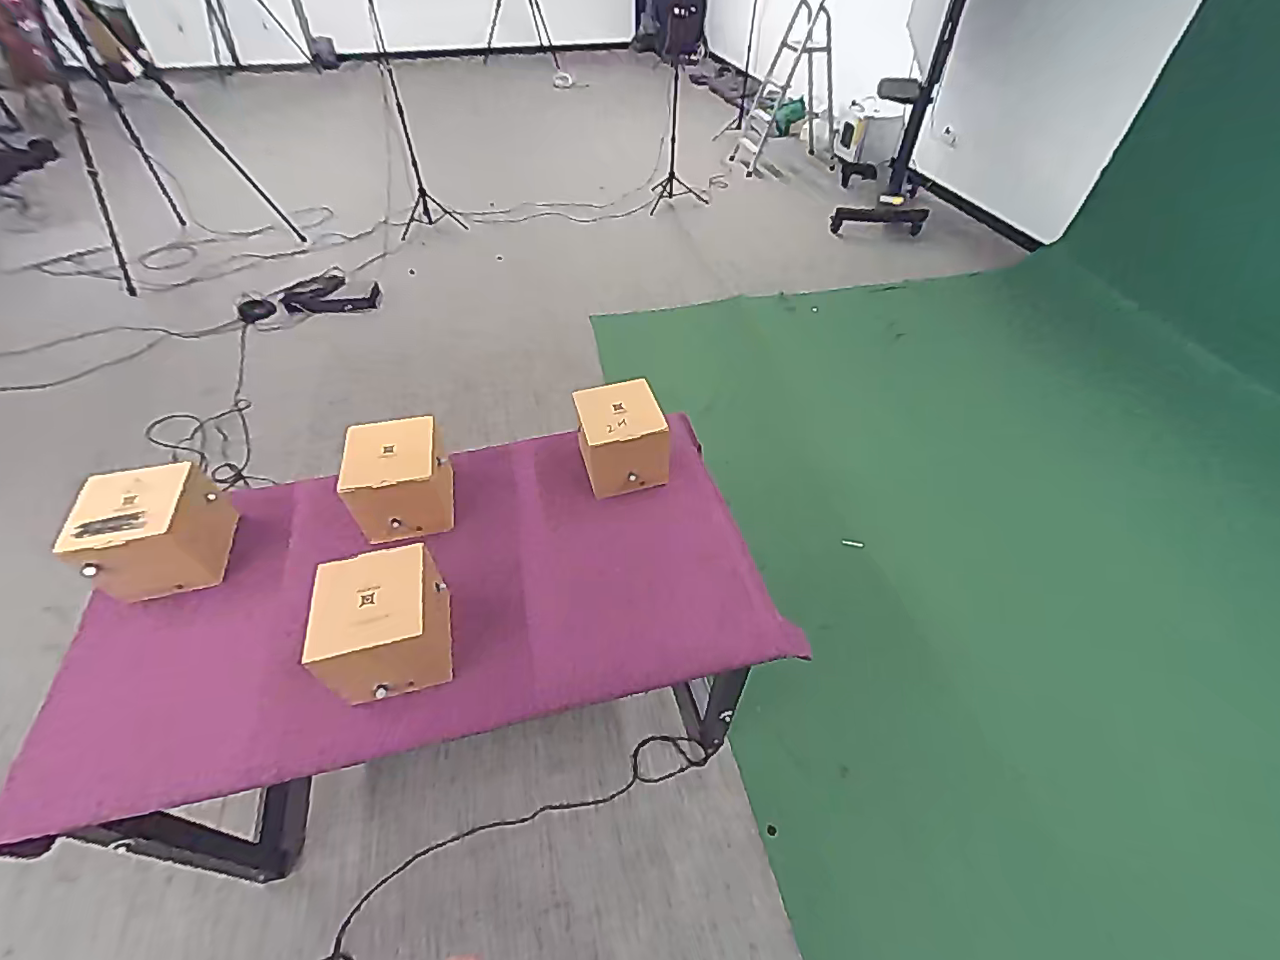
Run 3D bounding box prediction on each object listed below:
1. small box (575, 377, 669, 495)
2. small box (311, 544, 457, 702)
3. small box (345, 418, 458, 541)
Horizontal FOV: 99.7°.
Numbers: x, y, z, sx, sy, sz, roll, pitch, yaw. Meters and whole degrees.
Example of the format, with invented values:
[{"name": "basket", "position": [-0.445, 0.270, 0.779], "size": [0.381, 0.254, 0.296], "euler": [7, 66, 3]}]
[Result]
[{"name": "small box", "position": [-0.039, -0.095, 1.182], "size": [0.168, 0.176, 0.179], "euler": [-14, 50, -8]}, {"name": "small box", "position": [-0.411, 0.237, 0.899], "size": [0.168, 0.176, 0.179], "euler": [-12, 48, -8]}, {"name": "small box", "position": [-0.479, 0.000, 1.112], "size": [0.168, 0.176, 0.179], "euler": [-10, 51, -8]}]
